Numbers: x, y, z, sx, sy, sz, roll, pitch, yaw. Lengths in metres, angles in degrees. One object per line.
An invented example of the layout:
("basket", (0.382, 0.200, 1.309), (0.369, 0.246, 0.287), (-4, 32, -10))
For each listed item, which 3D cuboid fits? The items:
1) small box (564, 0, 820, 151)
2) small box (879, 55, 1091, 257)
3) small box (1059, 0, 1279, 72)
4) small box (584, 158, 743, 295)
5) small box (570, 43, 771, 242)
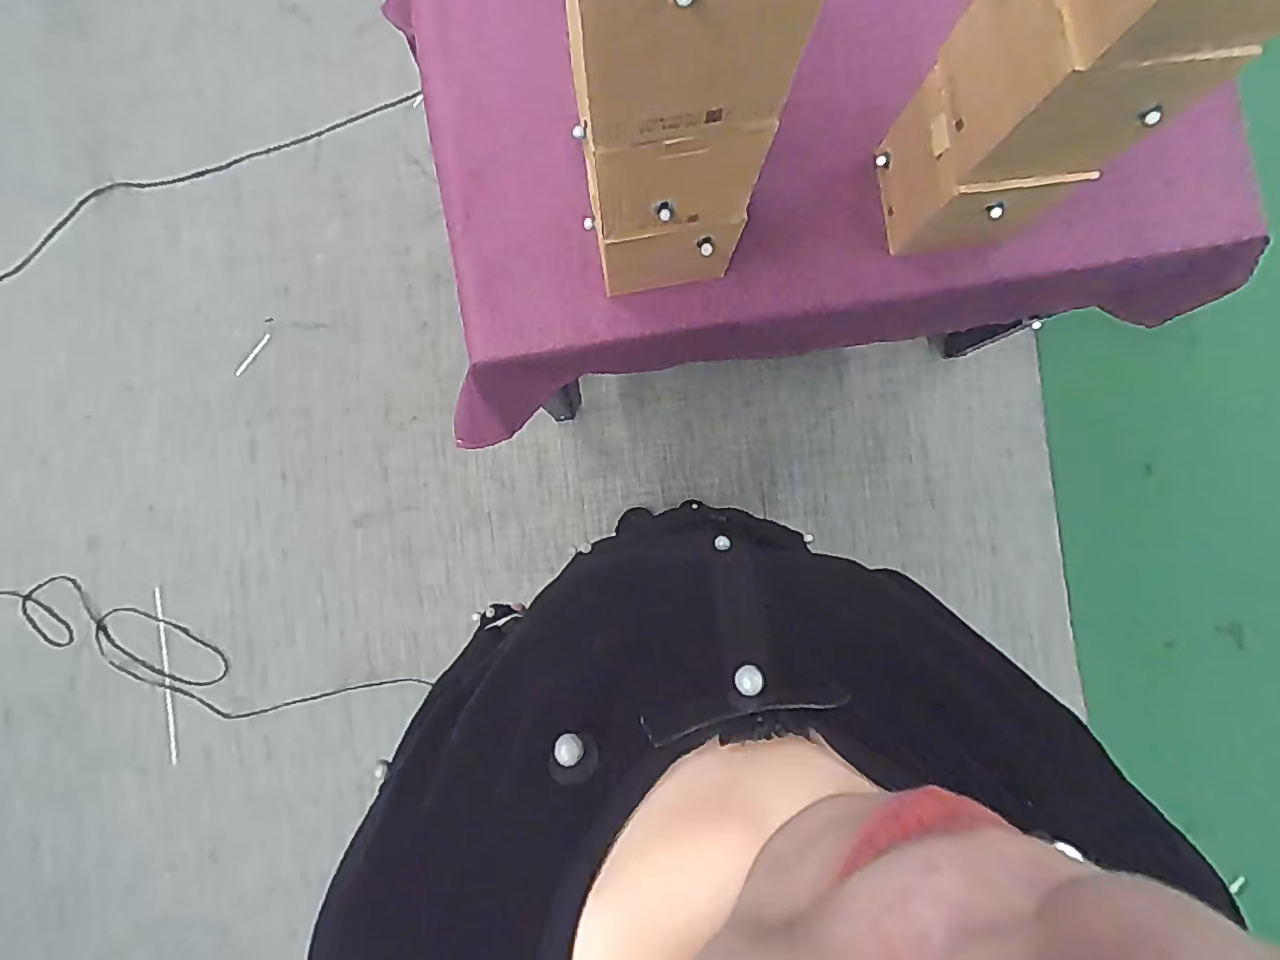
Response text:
("small box", (0.024, -0.384, 0.394), (0.168, 0.176, 0.179), (-9, 88, -1))
("small box", (0.443, -0.419, 0.728), (0.179, 0.176, 0.168), (-7, 88, -1))
("small box", (0.456, -0.451, 0.401), (0.179, 0.176, 0.168), (-9, 87, -1))
("small box", (0.023, -0.366, 0.721), (0.179, 0.176, 0.168), (-10, 87, -1))
("small box", (0.021, -0.378, 0.558), (0.168, 0.176, 0.179), (-10, 89, -1))
